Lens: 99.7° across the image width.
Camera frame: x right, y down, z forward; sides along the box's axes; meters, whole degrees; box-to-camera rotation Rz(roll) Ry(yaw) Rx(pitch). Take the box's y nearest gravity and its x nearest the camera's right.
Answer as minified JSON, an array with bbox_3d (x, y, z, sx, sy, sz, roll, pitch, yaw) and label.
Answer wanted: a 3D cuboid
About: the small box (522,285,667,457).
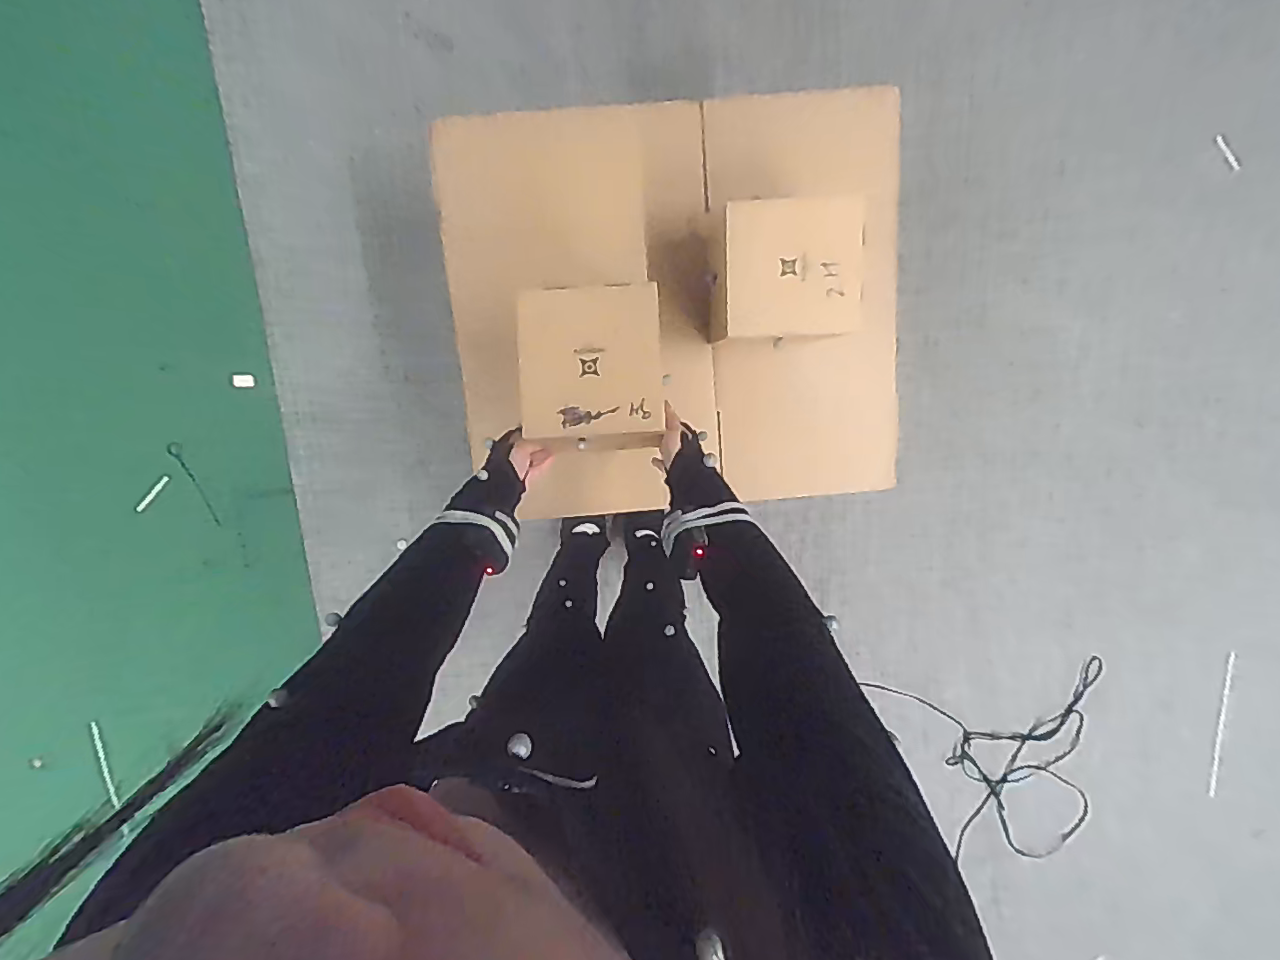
[{"bbox_3d":[-0.052,-0.130,0.699,0.168,0.176,0.179,-3,86,2],"label":"small box"}]

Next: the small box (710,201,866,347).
[{"bbox_3d":[0.193,-0.276,0.758,0.179,0.176,0.168,-2,101,0],"label":"small box"}]
